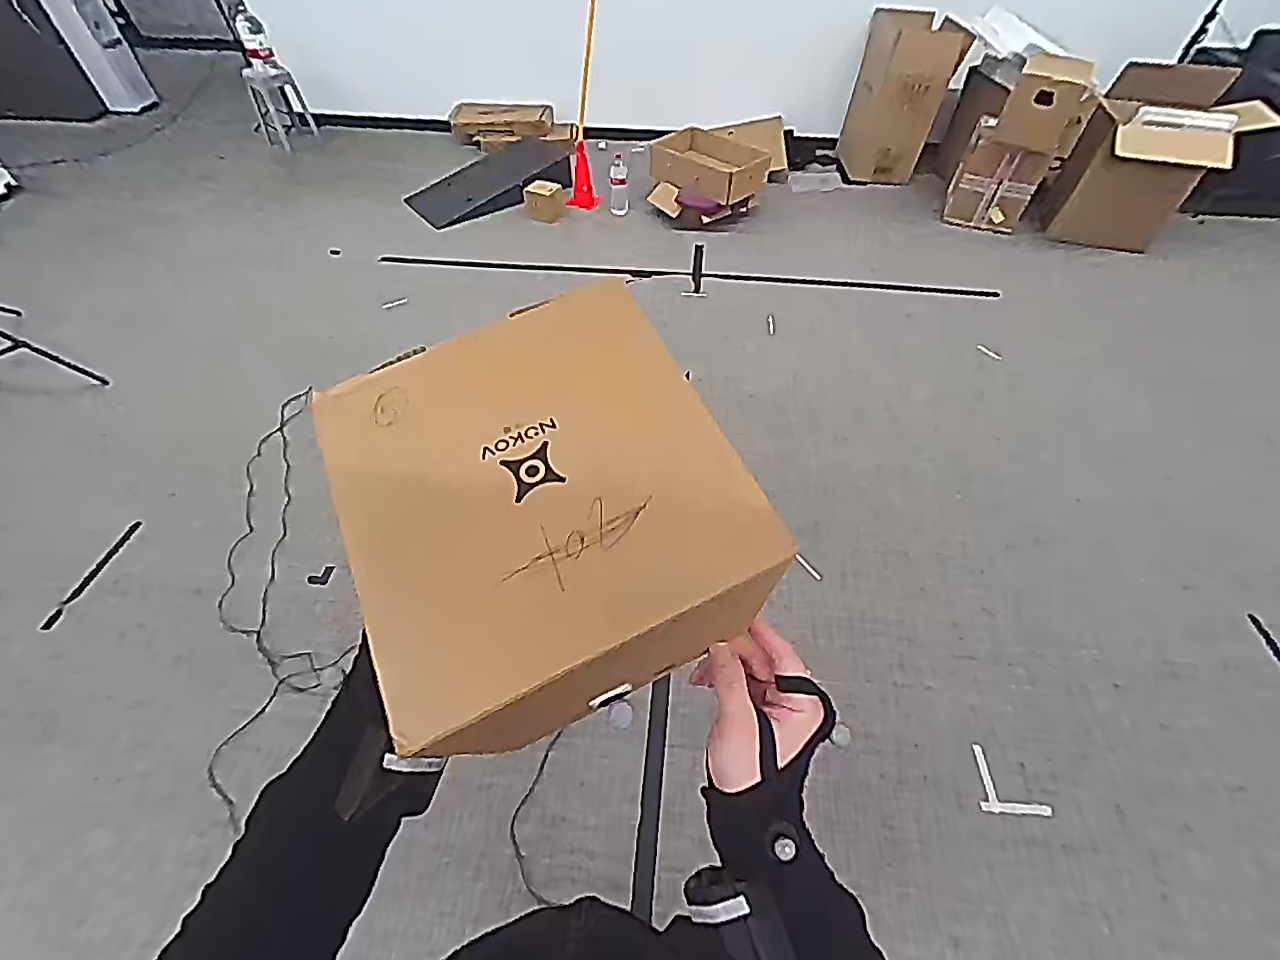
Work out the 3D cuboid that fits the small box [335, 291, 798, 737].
[{"bbox_3d":[-0.039,0.032,0.320,0.168,0.176,0.179,-26,66,-9],"label":"small box"}]
